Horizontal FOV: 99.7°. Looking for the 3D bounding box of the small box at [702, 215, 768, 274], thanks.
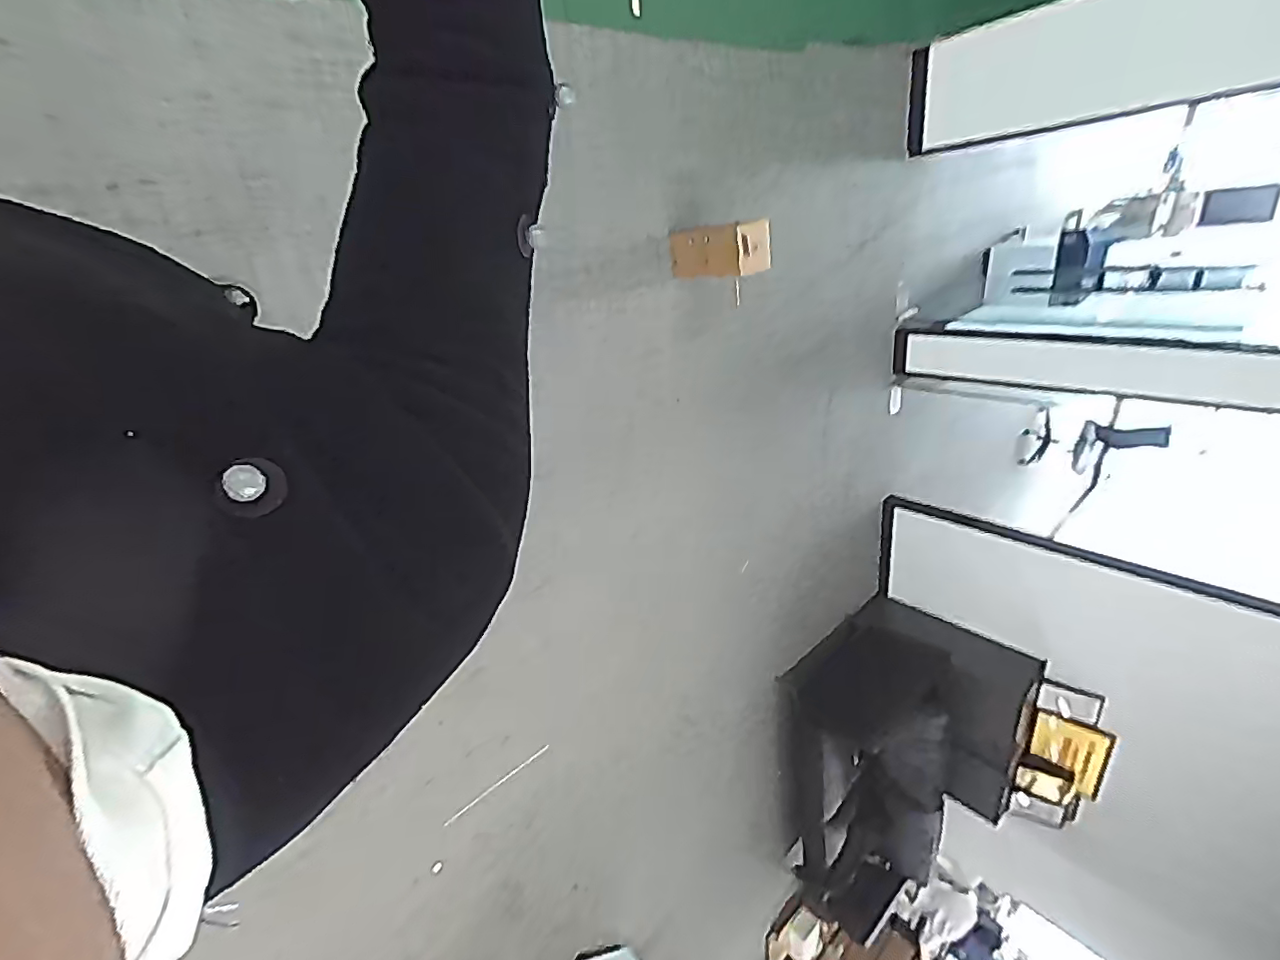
[{"bbox_3d":[0.335,-0.843,1.940,0.179,0.176,0.168,-29,122,-33],"label":"small box"}]
